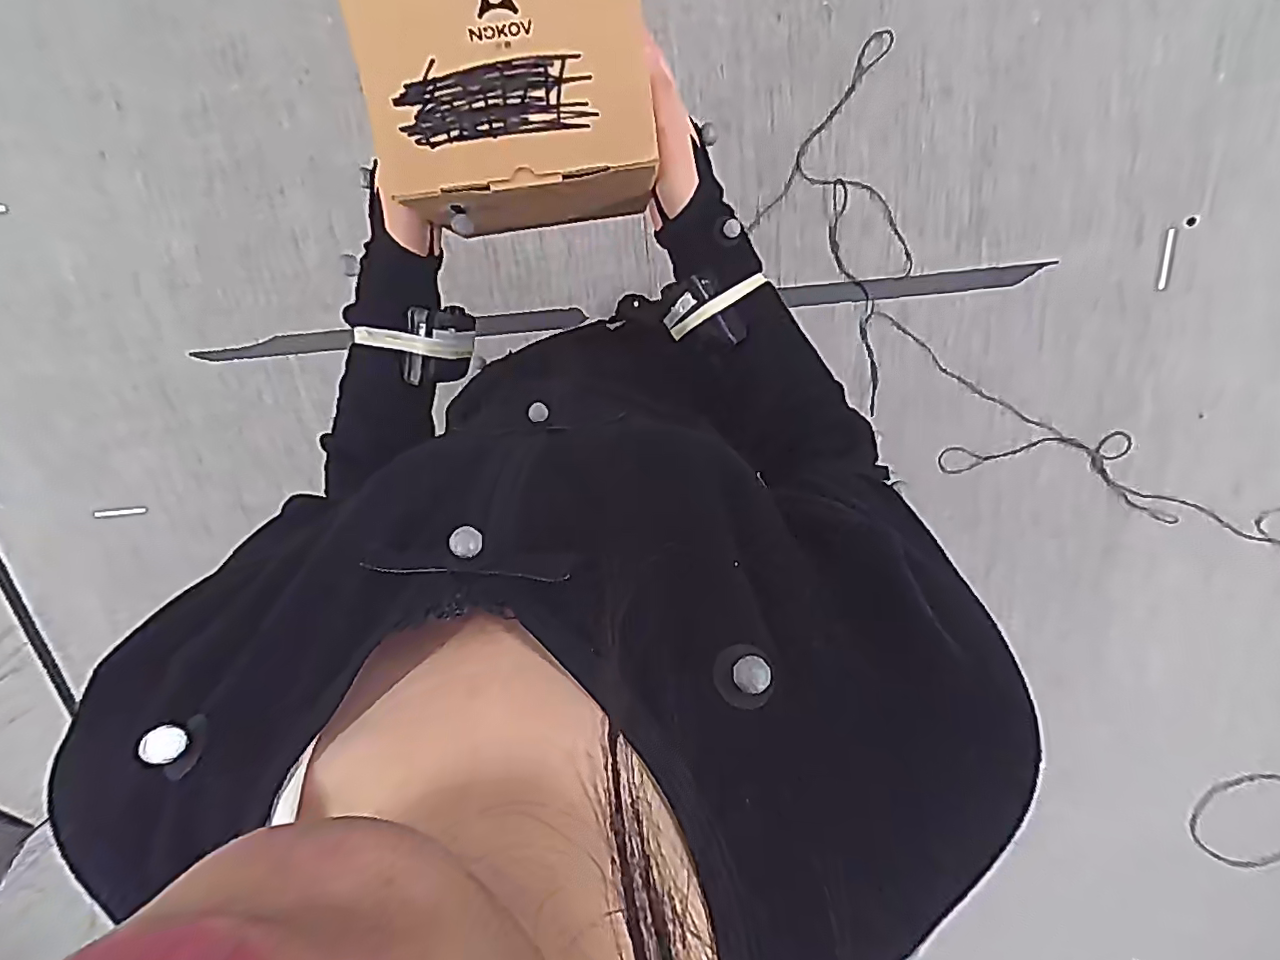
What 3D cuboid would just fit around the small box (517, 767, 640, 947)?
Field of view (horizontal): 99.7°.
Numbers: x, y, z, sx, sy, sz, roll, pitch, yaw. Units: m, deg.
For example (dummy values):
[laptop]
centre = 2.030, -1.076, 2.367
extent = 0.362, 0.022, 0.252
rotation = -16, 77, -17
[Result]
[small box]
centre = -0.086, 0.591, 0.858
extent = 0.168, 0.176, 0.179
rotation = -4, 109, 1
